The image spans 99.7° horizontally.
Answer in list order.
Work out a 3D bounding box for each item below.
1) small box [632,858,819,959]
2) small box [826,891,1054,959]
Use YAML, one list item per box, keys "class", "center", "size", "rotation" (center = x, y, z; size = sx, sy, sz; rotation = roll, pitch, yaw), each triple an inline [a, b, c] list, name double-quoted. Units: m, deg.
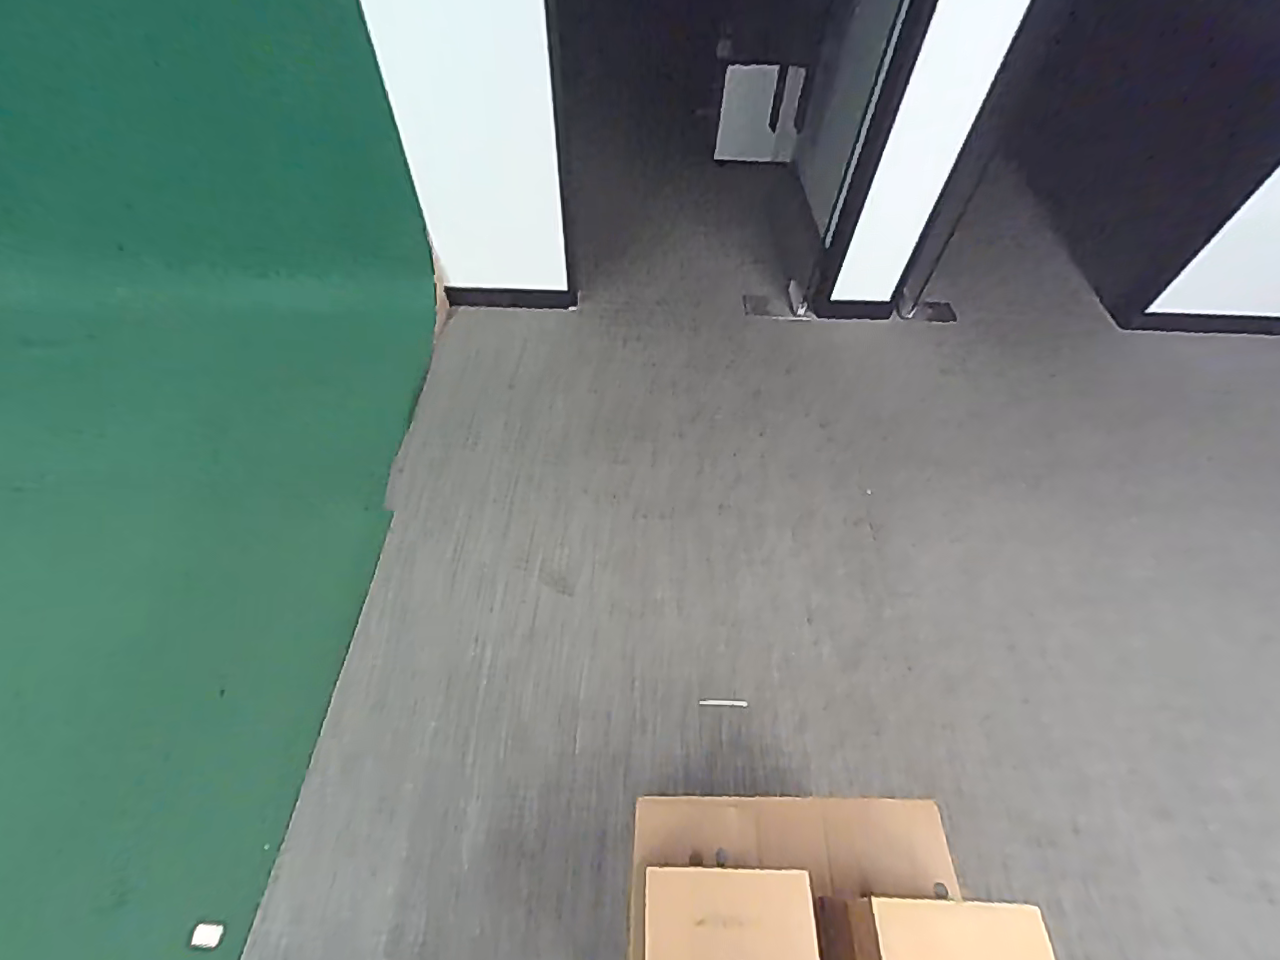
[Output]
- class: "small box"
  center: [0.080, 0.502, 0.557]
  size: [0.168, 0.176, 0.179]
  rotation: [4, 55, -3]
- class: "small box"
  center: [0.301, 0.529, 0.545]
  size: [0.168, 0.176, 0.179]
  rotation: [3, 54, 1]
